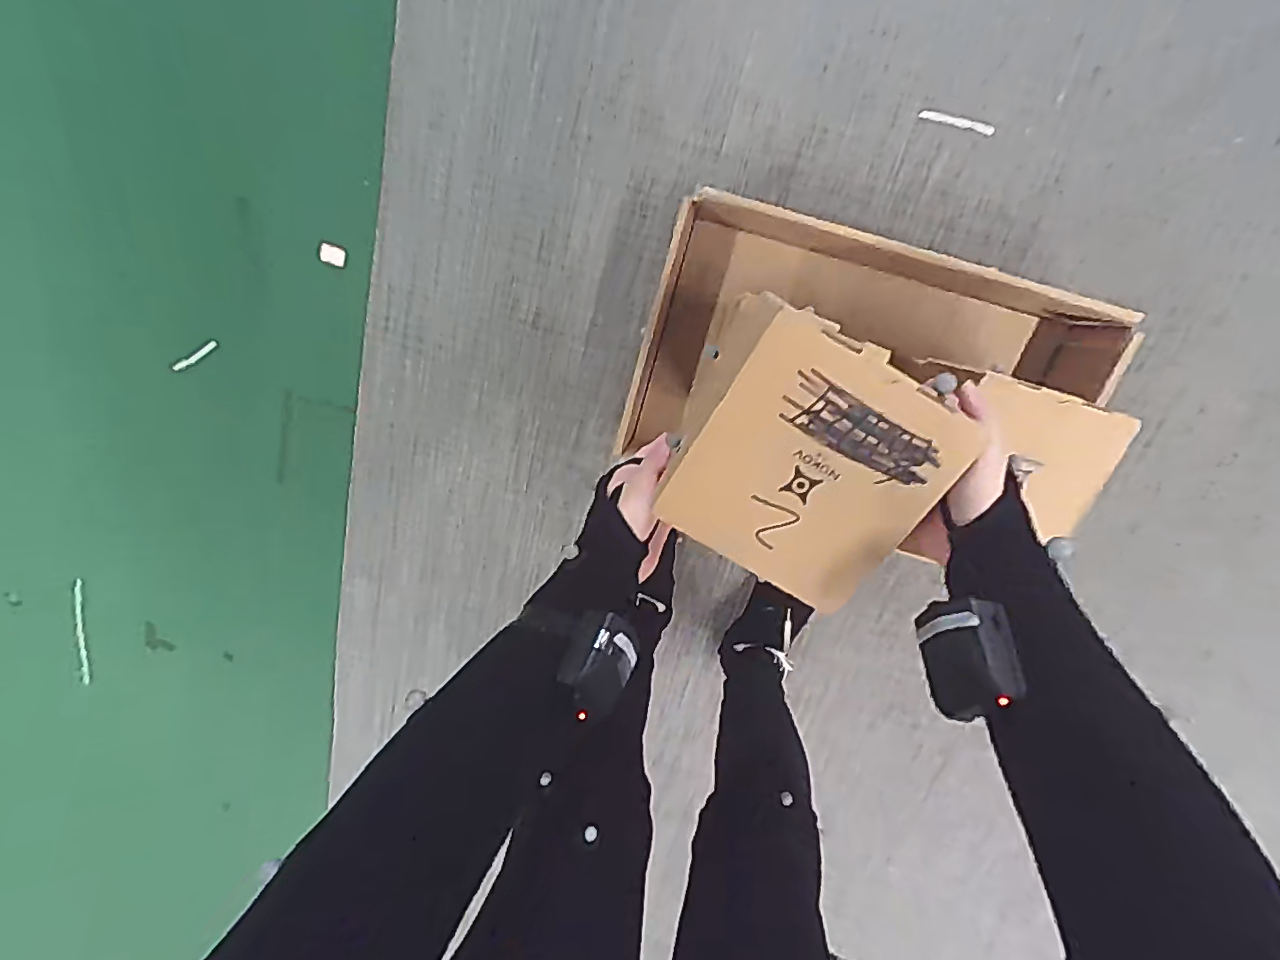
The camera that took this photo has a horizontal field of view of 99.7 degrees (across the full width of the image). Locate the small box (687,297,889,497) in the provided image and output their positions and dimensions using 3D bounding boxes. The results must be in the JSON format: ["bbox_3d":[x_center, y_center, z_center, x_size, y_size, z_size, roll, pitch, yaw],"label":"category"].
[{"bbox_3d":[0.165,-0.109,0.666,0.168,0.176,0.179,23,108,-1],"label":"small box"}]

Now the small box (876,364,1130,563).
[{"bbox_3d":[0.417,-0.032,0.663,0.168,0.176,0.179,19,109,2],"label":"small box"}]

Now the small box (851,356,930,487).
[{"bbox_3d":[0.439,-0.077,0.819,0.168,0.176,0.179,17,109,2],"label":"small box"}]
